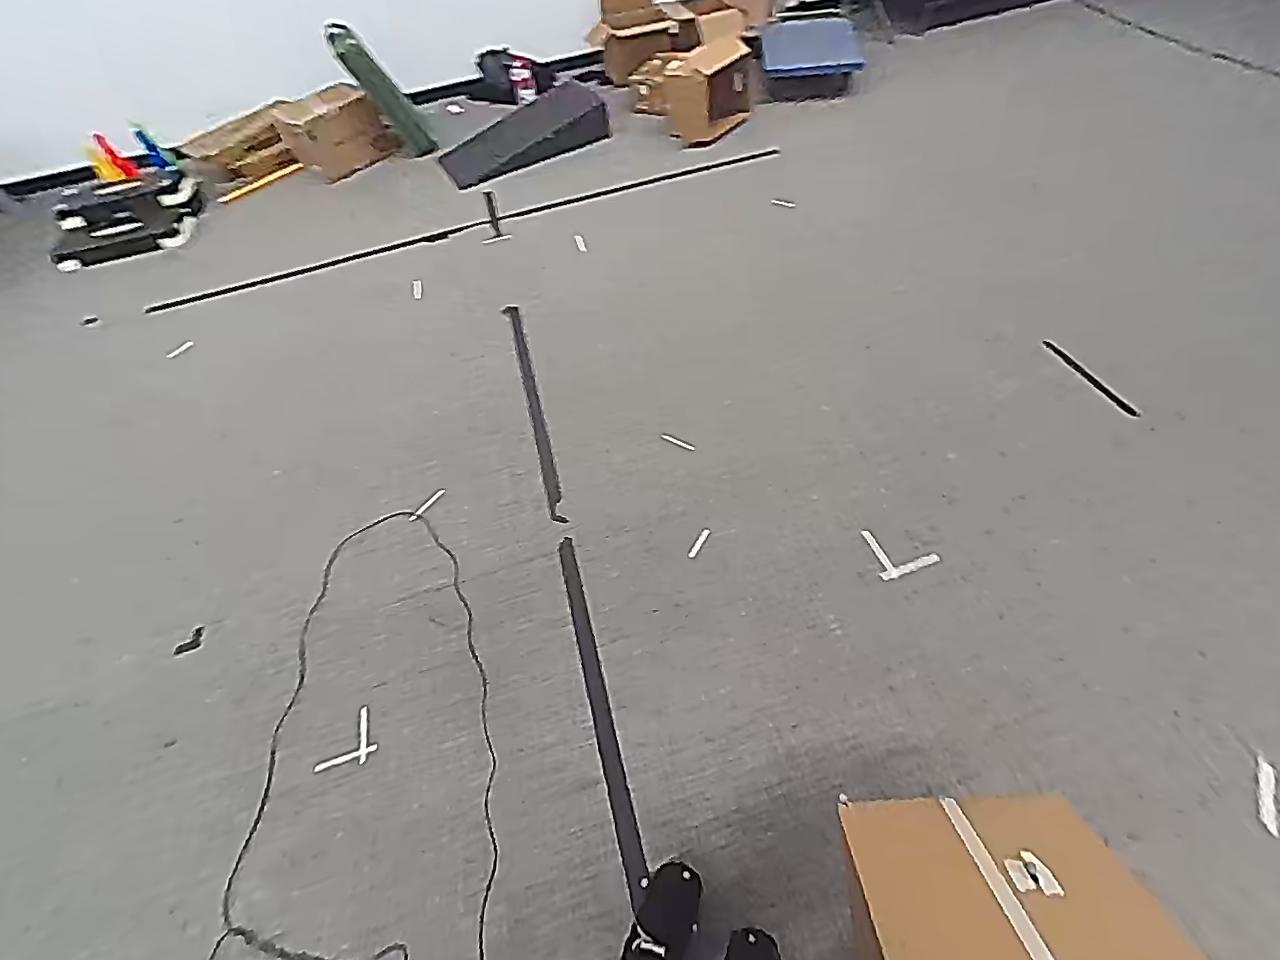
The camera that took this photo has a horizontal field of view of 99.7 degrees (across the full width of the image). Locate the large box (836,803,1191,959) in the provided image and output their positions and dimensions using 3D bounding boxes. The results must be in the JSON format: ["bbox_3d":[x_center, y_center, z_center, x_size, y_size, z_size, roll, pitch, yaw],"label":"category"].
[{"bbox_3d":[0.453,0.665,0.629,0.320,0.408,0.320,-7,96,7],"label":"large box"}]
